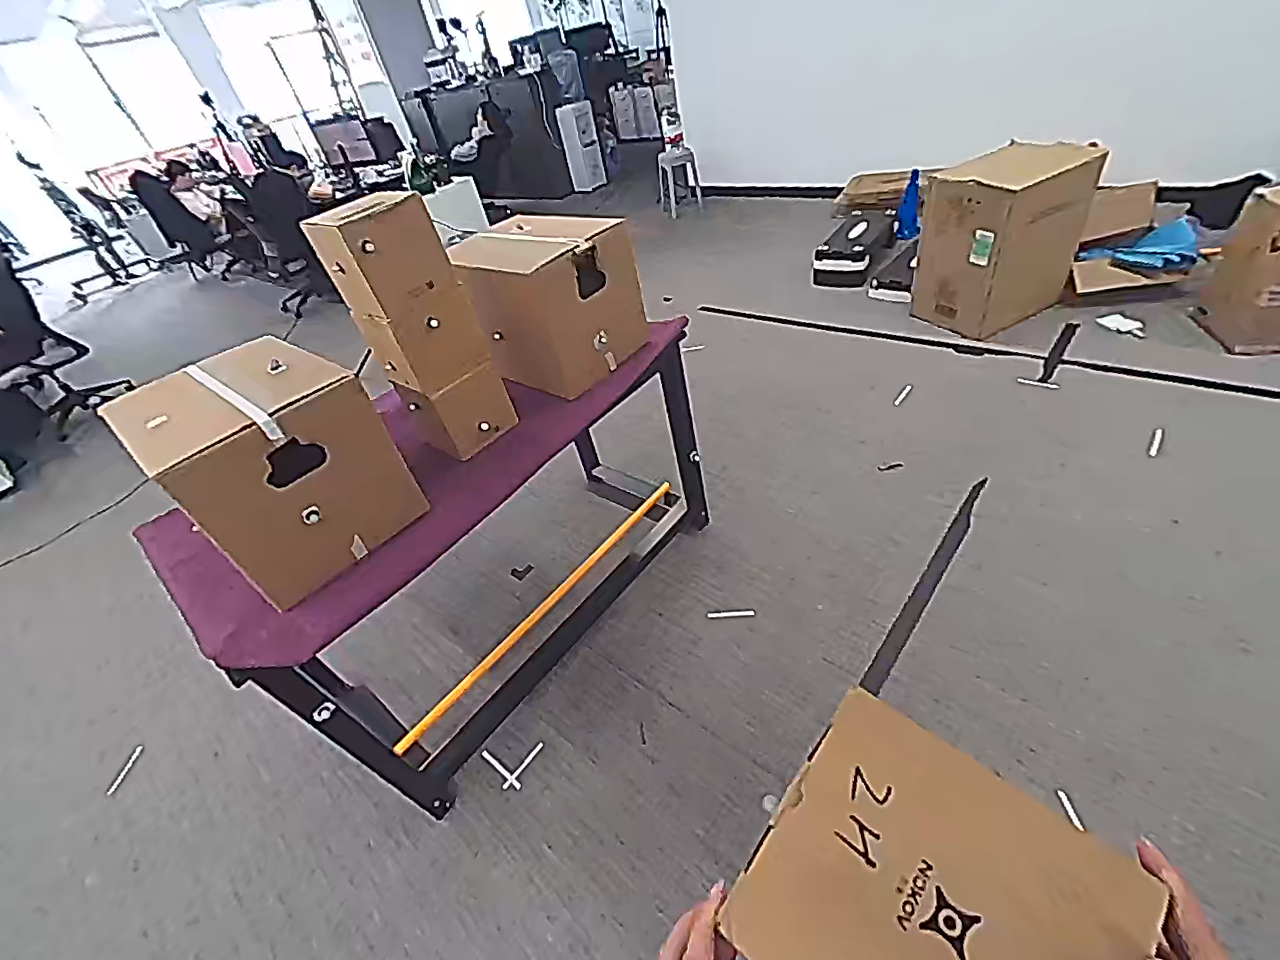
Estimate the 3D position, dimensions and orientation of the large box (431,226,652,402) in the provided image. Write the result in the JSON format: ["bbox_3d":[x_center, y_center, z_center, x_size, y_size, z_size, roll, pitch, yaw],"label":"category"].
[{"bbox_3d":[-0.238,-0.435,1.379,0.408,0.320,0.320,21,51,37],"label":"large box"}]
